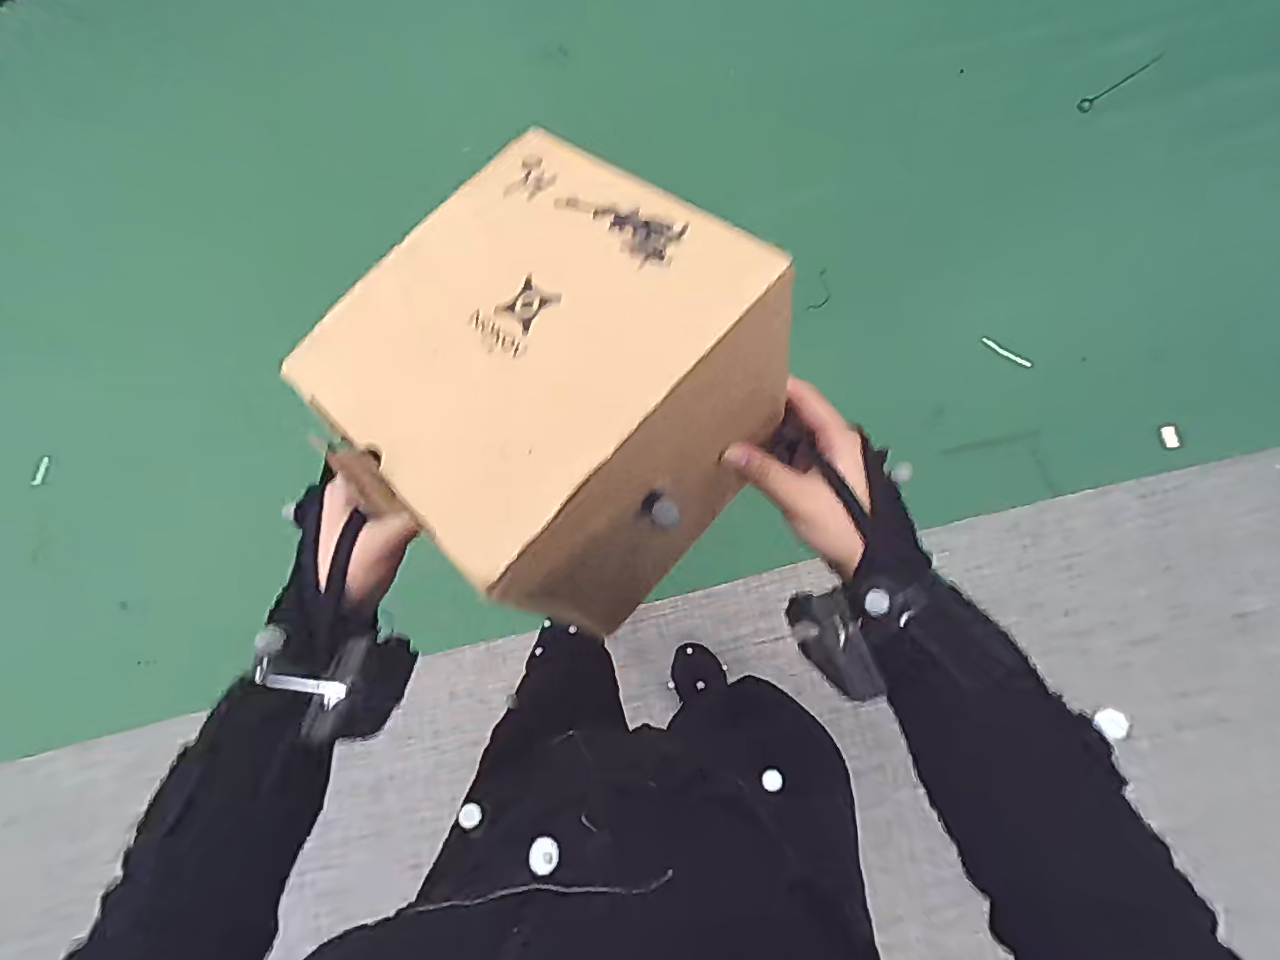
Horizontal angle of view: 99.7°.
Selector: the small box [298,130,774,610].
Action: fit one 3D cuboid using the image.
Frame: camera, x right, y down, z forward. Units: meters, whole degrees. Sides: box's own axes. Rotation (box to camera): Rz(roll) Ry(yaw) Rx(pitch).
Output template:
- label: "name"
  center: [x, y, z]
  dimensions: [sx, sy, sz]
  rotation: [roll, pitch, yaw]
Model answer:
- label: "small box"
  center: [-0.037, -0.045, 0.314]
  dimensions: [0.168, 0.176, 0.179]
  rotation: [40, 83, 23]
